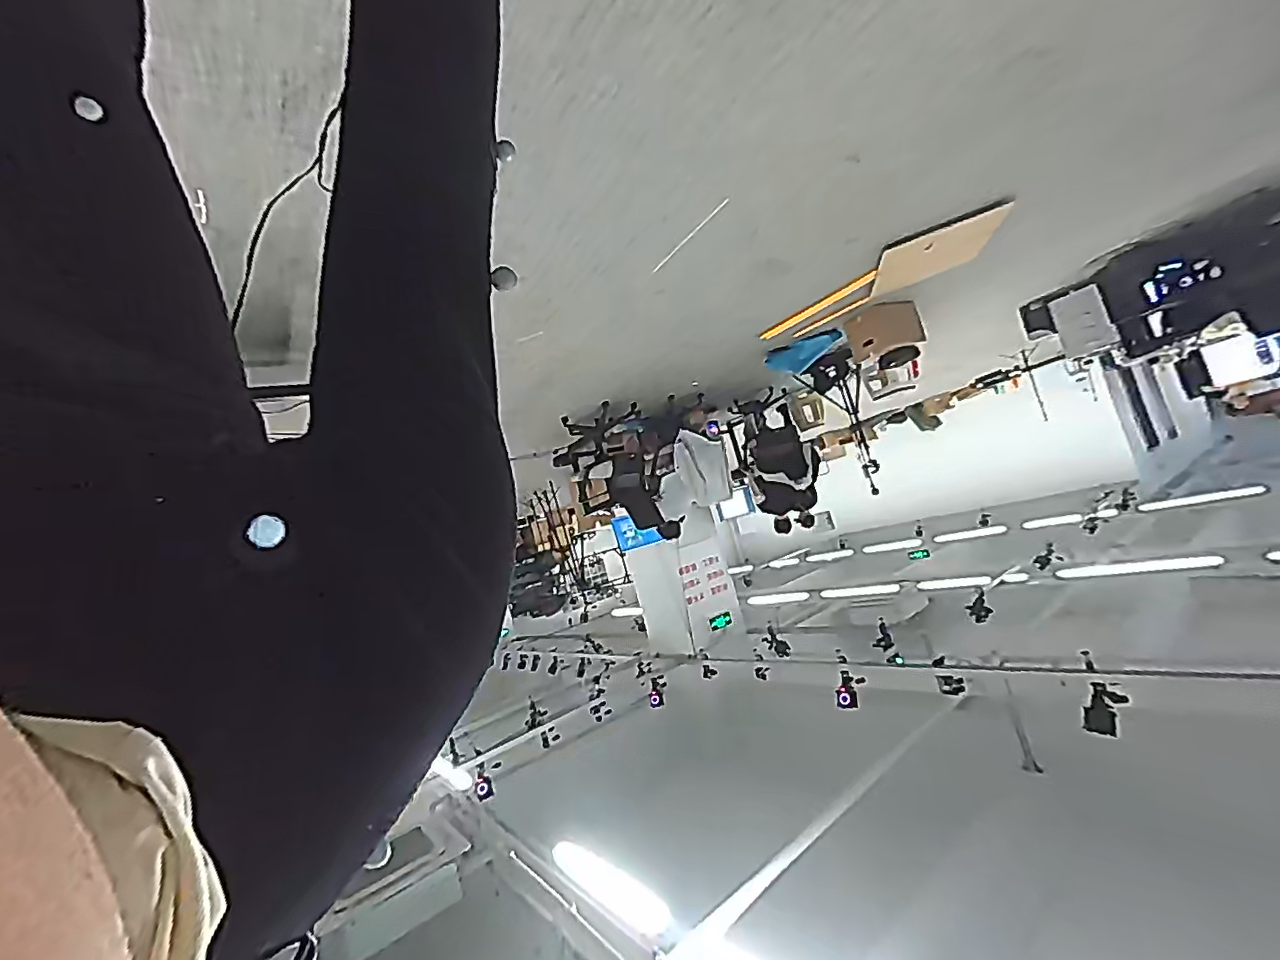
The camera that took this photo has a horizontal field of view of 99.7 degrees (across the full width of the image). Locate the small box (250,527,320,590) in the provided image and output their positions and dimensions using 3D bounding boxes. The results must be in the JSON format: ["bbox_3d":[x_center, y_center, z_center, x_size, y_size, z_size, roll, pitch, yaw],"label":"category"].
[{"bbox_3d":[-1.195,0.263,1.818,0.168,0.176,0.179,-12,173,-38],"label":"small box"}]
